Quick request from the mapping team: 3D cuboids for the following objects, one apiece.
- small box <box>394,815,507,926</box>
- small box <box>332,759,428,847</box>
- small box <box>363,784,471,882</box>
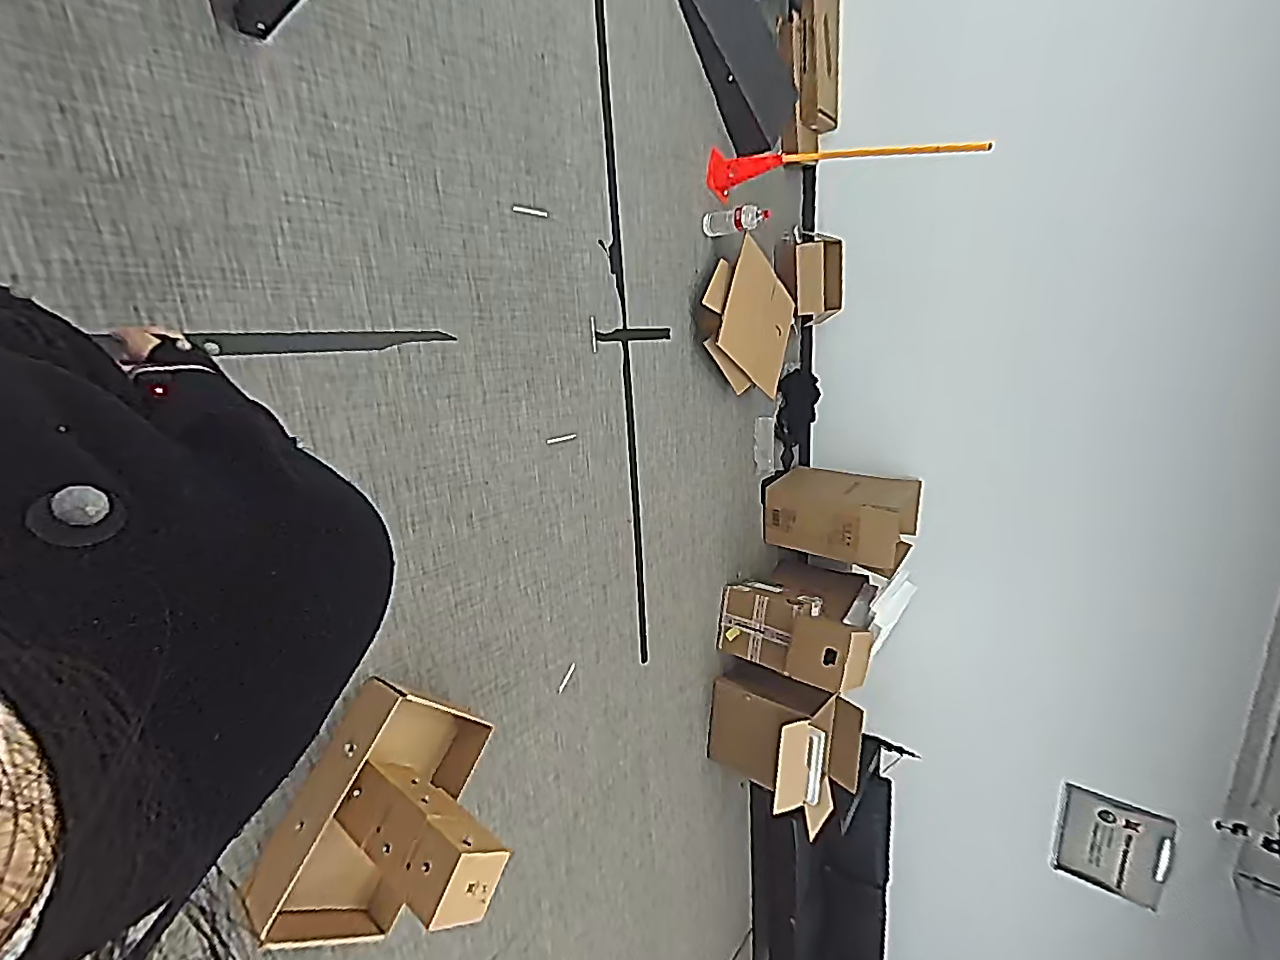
[{"bbox_3d":[-0.477,0.970,1.357,0.179,0.176,0.168,43,65,-47],"label":"small box"},{"bbox_3d":[-0.735,0.929,1.555,0.179,0.176,0.168,49,59,-44],"label":"small box"},{"bbox_3d":[-0.604,0.945,1.461,0.179,0.176,0.168,44,64,-48],"label":"small box"}]
